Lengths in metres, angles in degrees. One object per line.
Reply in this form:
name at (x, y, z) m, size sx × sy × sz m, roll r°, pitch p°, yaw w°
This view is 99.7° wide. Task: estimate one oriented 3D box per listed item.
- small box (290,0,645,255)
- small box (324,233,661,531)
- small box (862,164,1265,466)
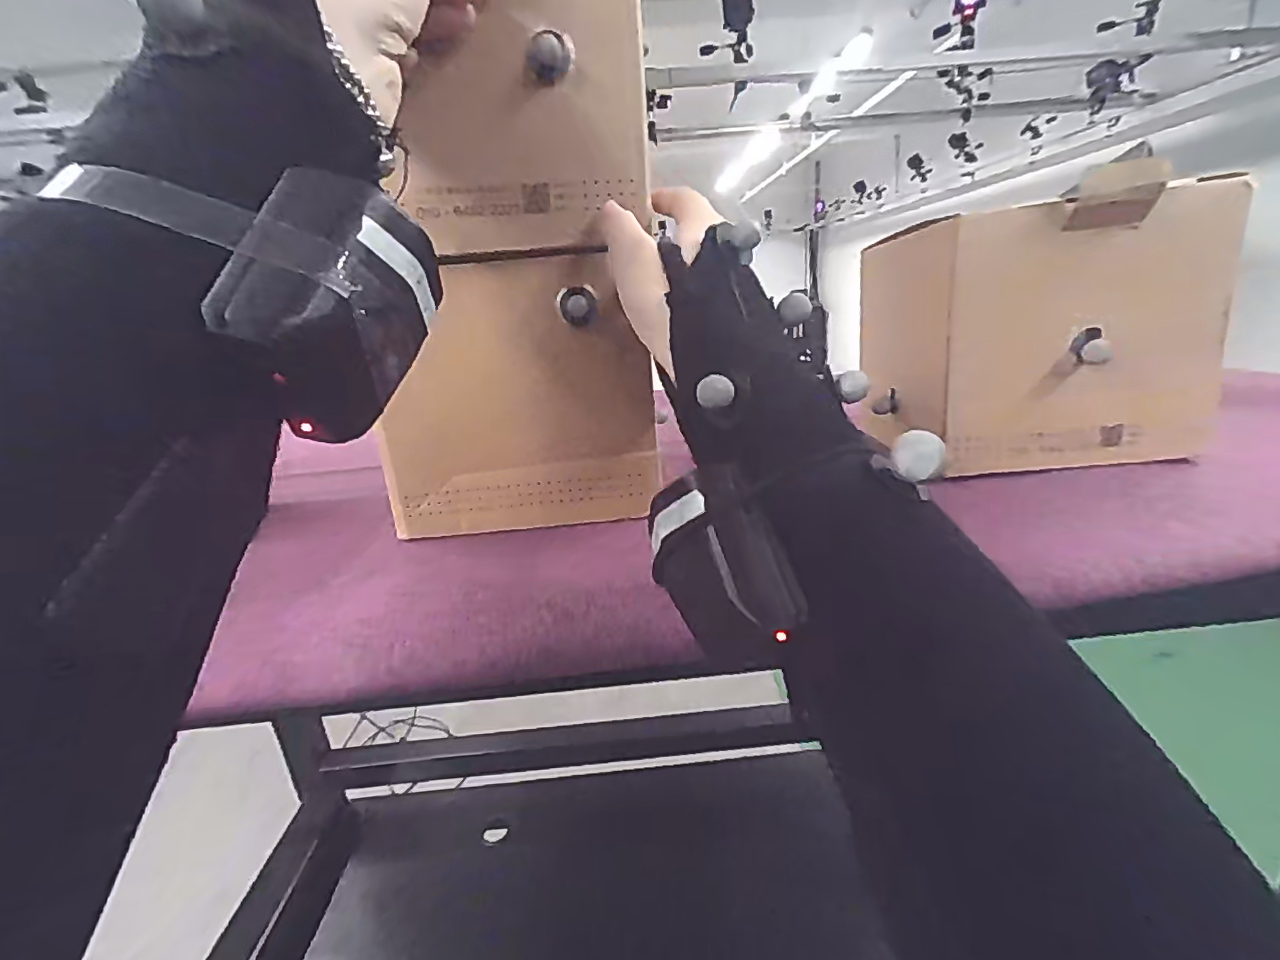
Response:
small box at (-0.088, -0.224, 0.343) m, size 0.168 × 0.176 × 0.179 m, roll -4°, pitch 16°, yaw -4°
small box at (-0.083, -0.069, 0.391) m, size 0.179 × 0.176 × 0.168 m, roll -5°, pitch 17°, yaw -1°
small box at (0.278, -0.109, 0.404) m, size 0.168 × 0.176 × 0.179 m, roll -5°, pitch 16°, yaw 5°
